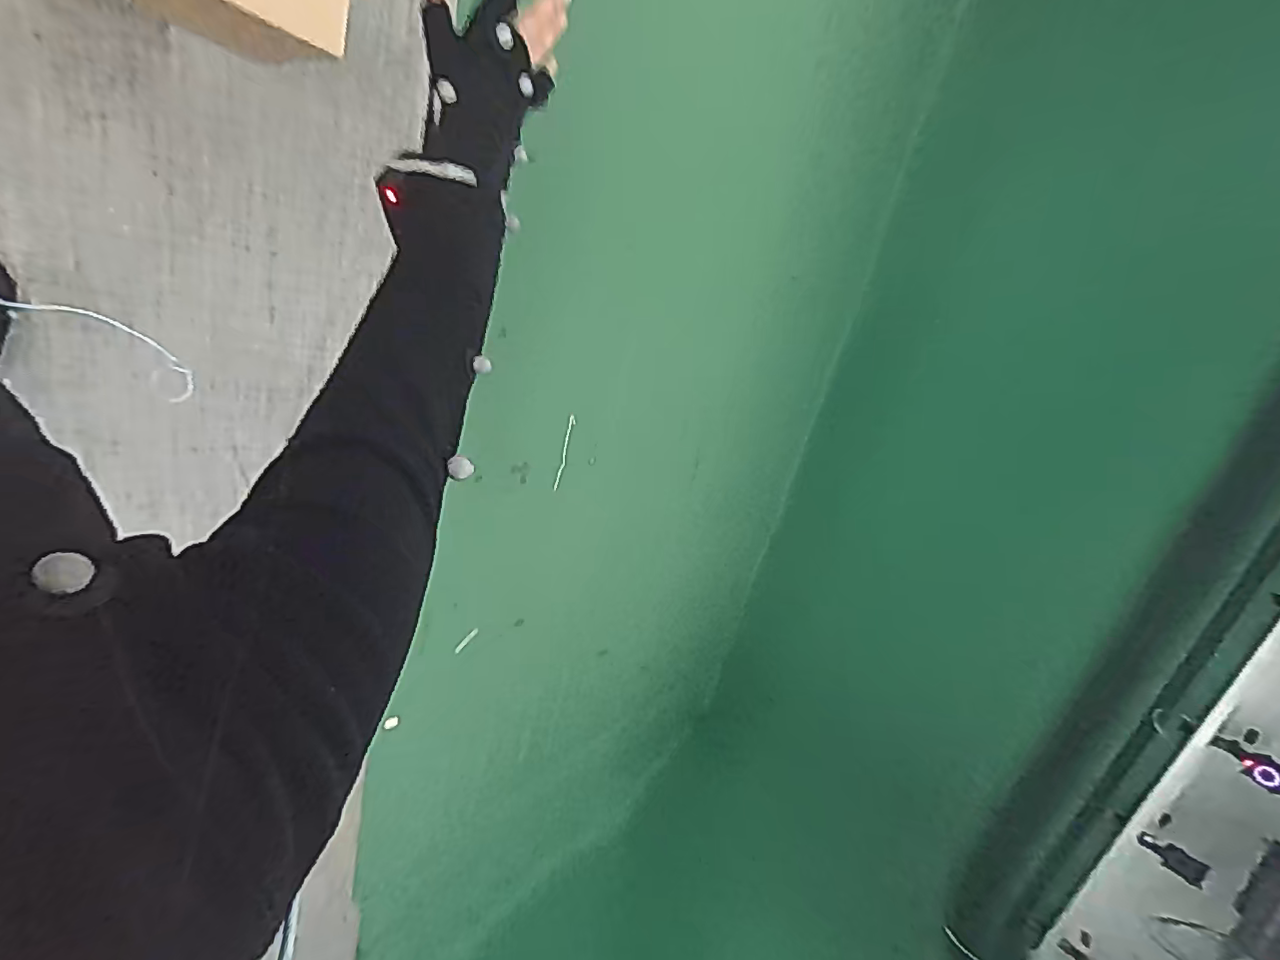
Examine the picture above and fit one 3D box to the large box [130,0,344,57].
[{"bbox_3d":[-0.622,-0.786,0.655,0.408,0.320,0.320,-7,118,-51],"label":"large box"}]
